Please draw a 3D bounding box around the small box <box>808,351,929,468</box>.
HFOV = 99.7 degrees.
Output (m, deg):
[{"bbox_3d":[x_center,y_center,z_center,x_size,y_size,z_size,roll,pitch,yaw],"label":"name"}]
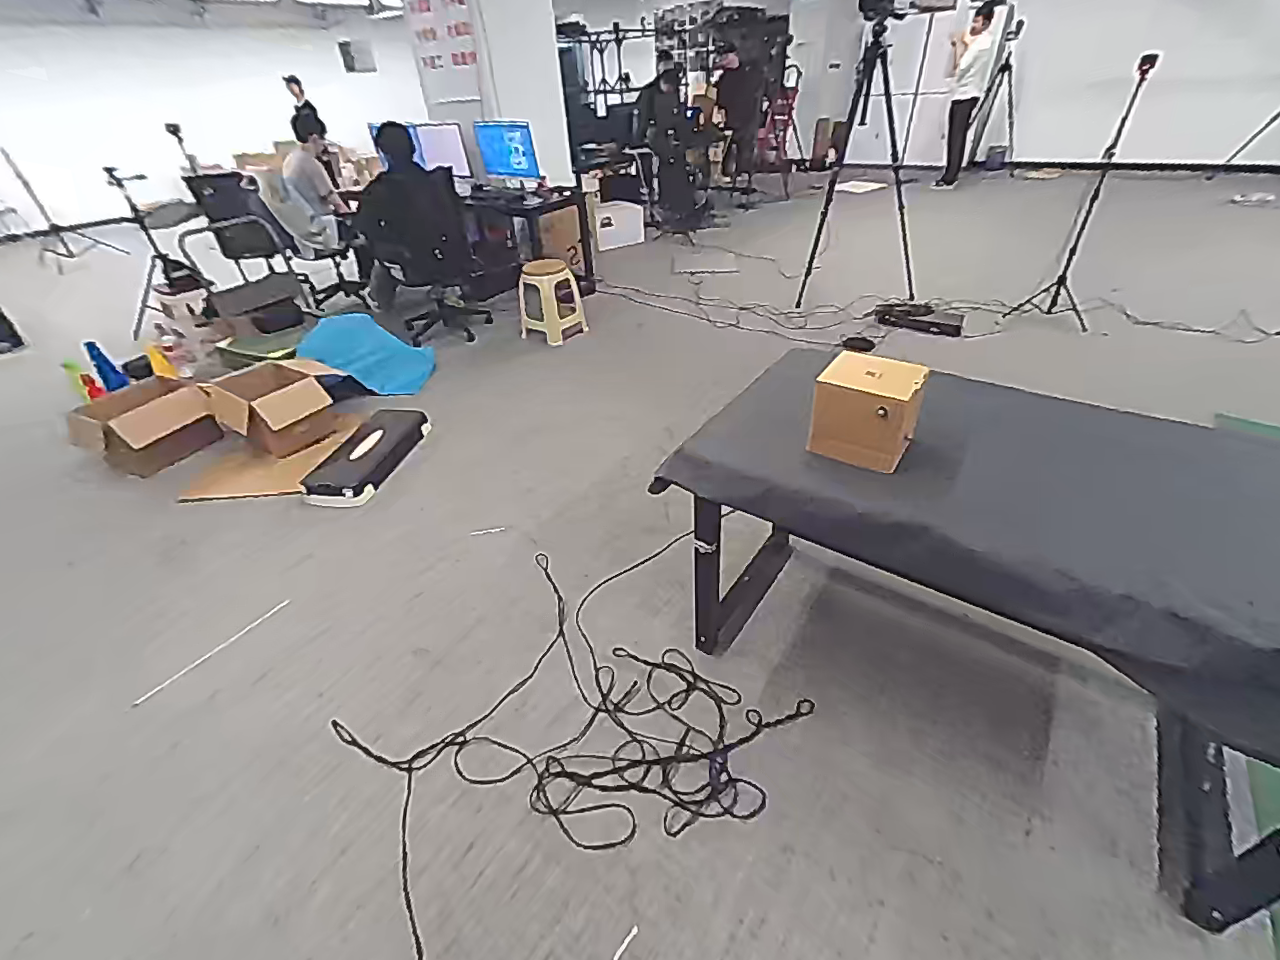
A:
[{"bbox_3d":[0.461,-0.146,1.108,0.179,0.176,0.168,21,43,30],"label":"small box"}]
